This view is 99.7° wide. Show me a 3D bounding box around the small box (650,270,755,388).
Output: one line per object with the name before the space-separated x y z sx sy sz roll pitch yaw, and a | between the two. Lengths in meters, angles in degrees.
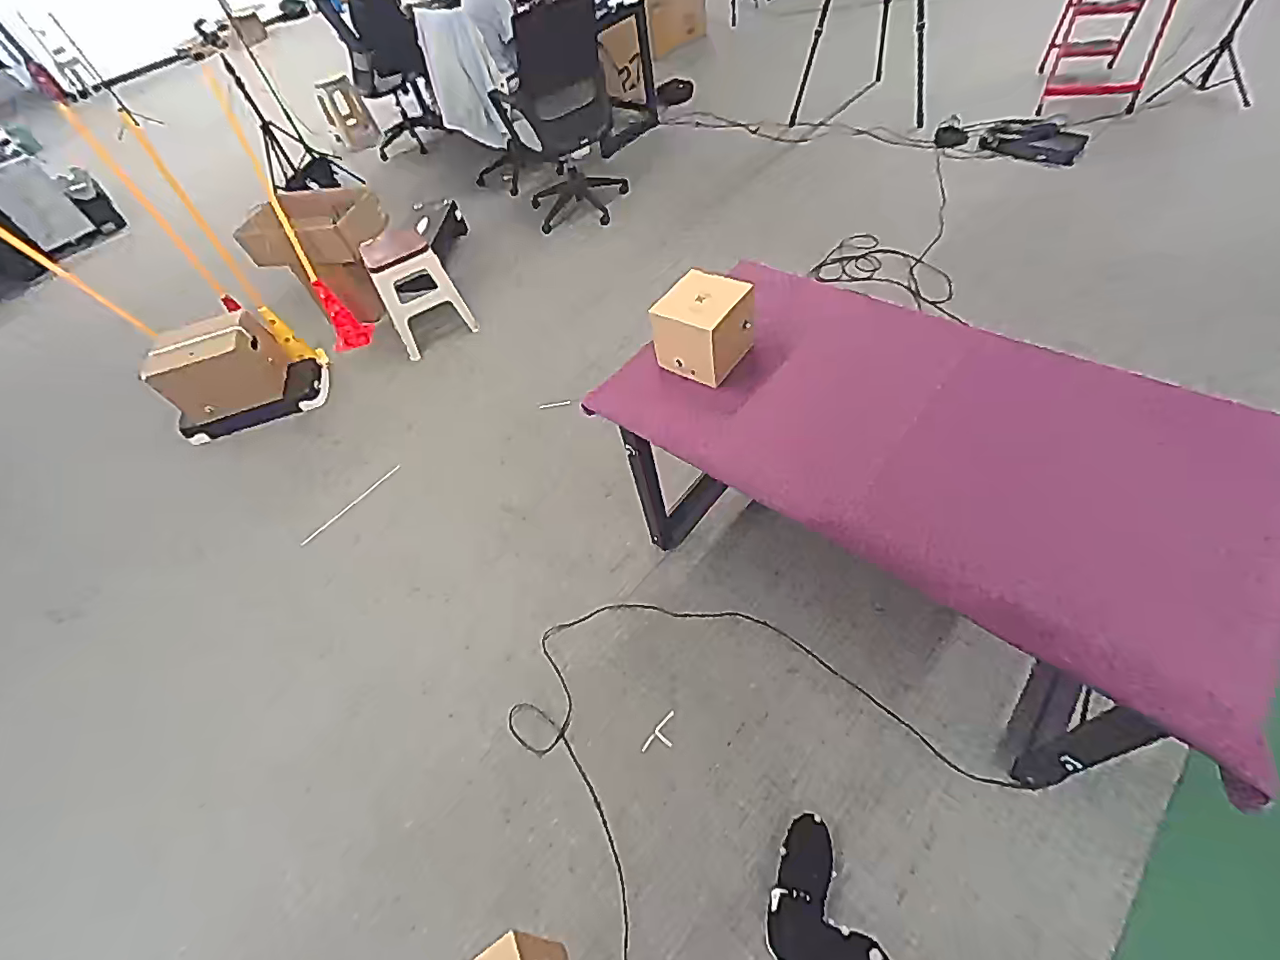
small box | 0.147 -0.345 1.237 0.168 0.176 0.179 27 63 29
